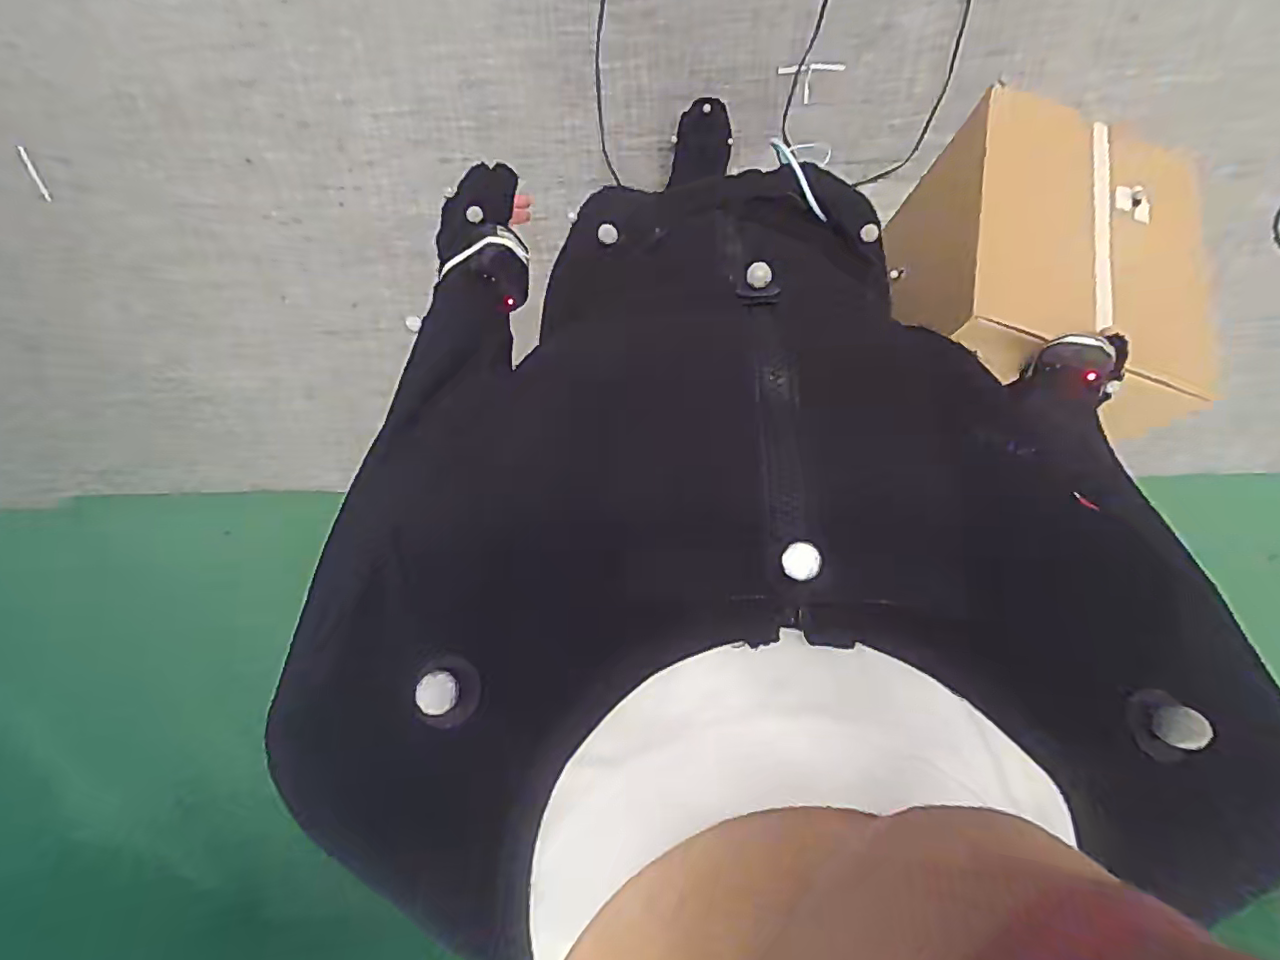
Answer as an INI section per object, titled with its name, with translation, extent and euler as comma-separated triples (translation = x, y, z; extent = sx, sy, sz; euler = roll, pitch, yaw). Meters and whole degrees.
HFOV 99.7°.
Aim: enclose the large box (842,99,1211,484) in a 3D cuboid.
[large box]
translation = 0.545, -0.257, 0.825
extent = 0.320, 0.408, 0.320
euler = 19, 159, -4
